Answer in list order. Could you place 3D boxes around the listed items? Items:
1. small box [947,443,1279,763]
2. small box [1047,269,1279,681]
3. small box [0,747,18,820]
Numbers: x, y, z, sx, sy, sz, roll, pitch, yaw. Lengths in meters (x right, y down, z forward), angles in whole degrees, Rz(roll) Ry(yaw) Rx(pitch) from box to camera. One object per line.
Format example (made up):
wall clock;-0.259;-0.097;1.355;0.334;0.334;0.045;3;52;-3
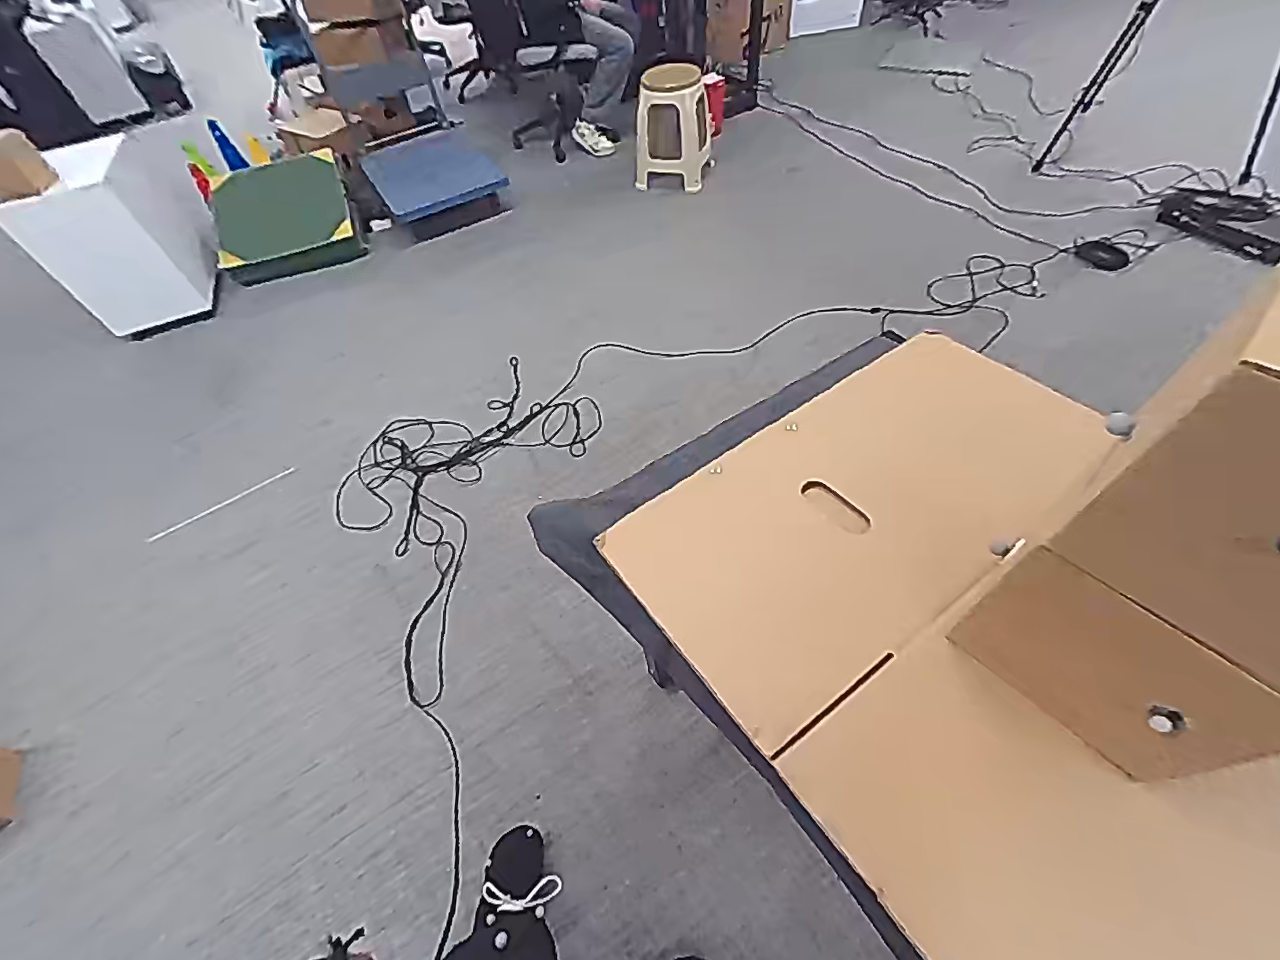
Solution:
small box;0.399;0.099;0.439;0.168;0.176;0.179;-37;58;-24
small box;0.396;-0.002;0.310;0.168;0.176;0.179;-37;59;-24
small box;-1.593;0.718;1.229;0.168;0.176;0.179;-27;56;-14
